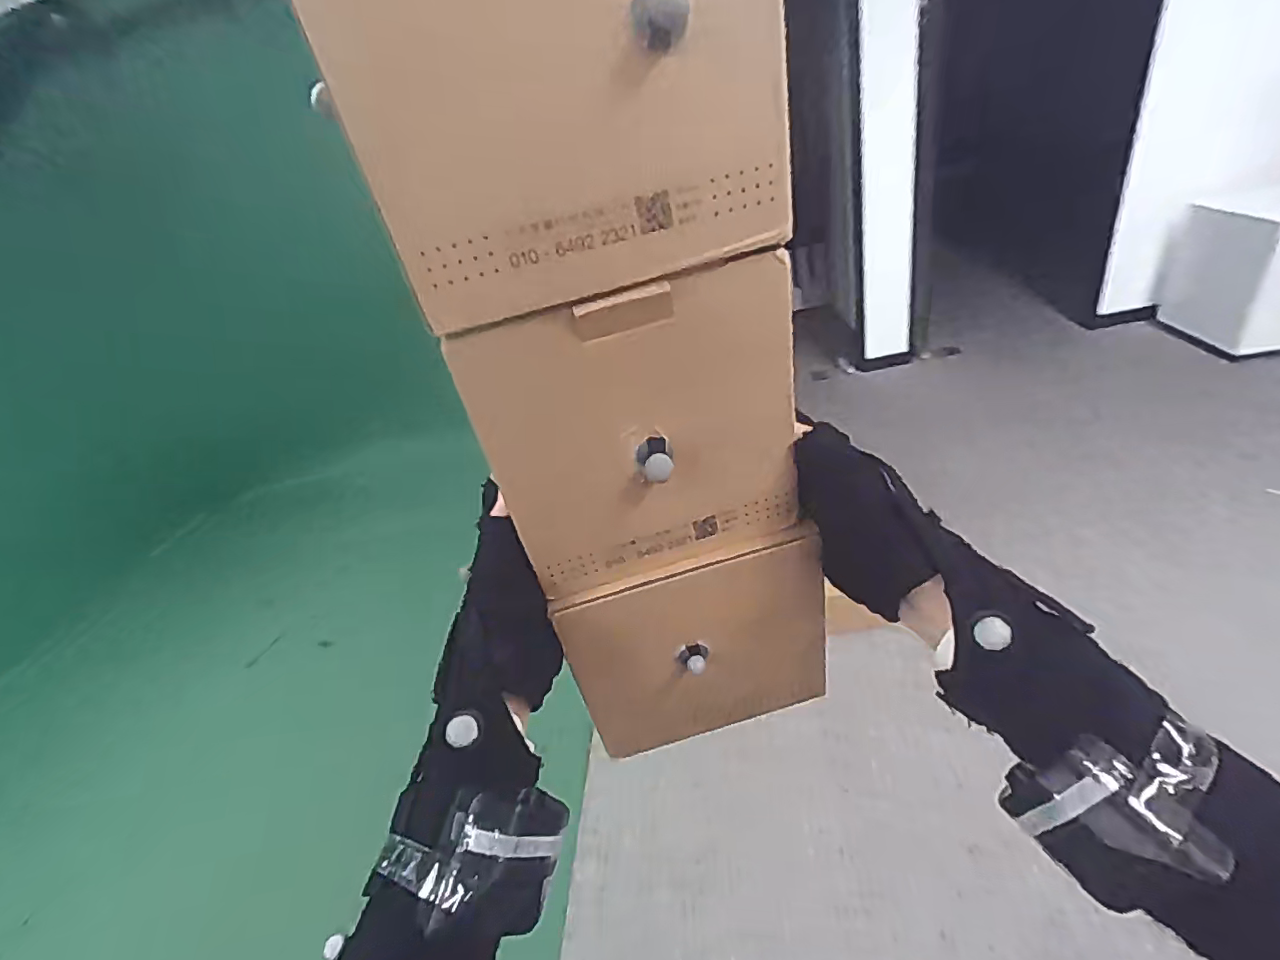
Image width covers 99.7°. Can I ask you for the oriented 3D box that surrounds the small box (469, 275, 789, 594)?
[{"bbox_3d":[-0.008,-0.042,0.383,0.168,0.176,0.179,-18,33,-5],"label":"small box"}]

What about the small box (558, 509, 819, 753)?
[{"bbox_3d":[0.035,0.094,0.457,0.179,0.176,0.168,-16,32,-2],"label":"small box"}]

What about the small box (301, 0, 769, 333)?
[{"bbox_3d":[-0.043,-0.188,0.280,0.168,0.176,0.179,-16,32,-4],"label":"small box"}]
